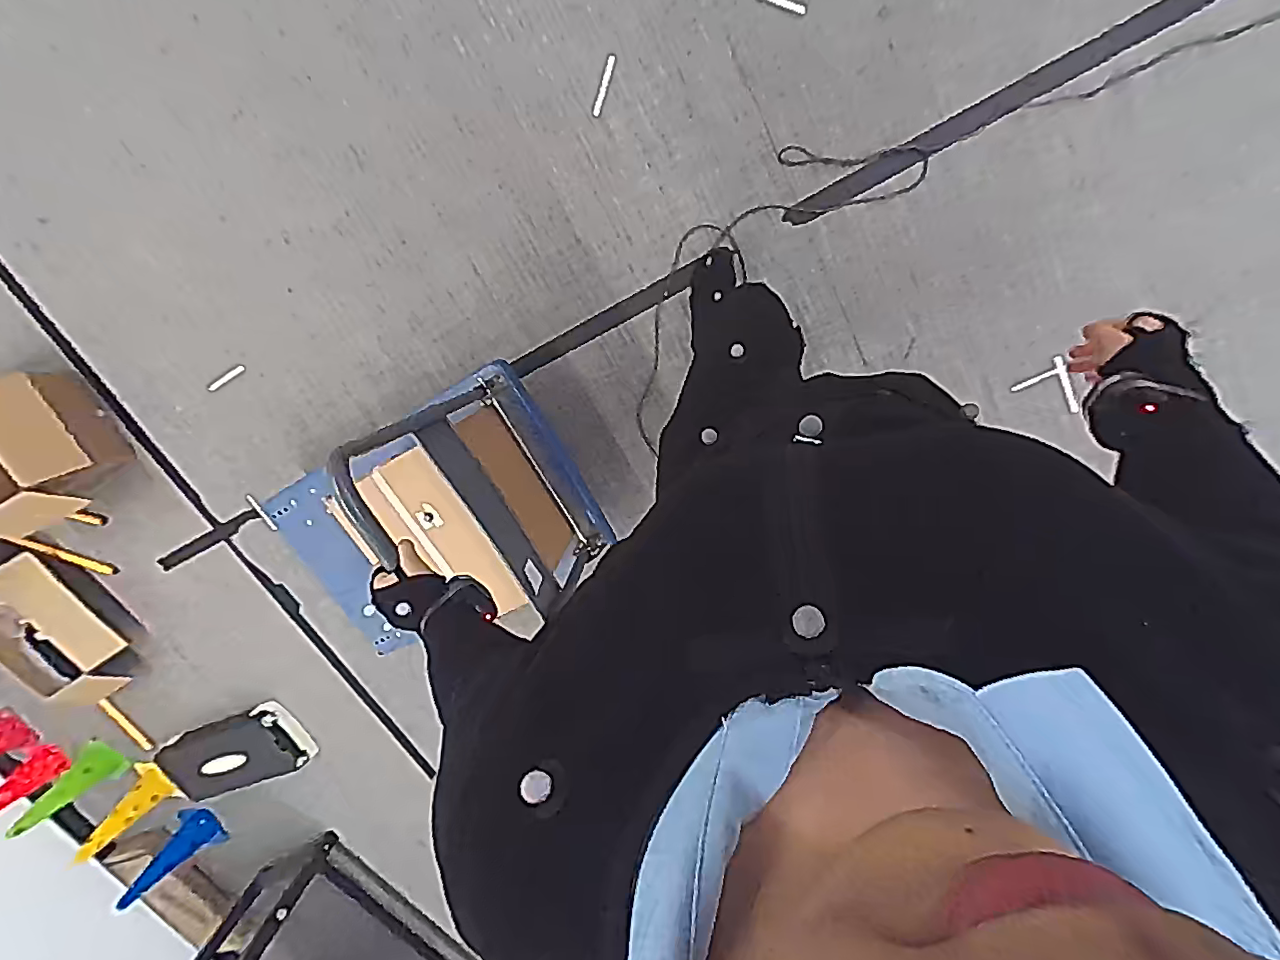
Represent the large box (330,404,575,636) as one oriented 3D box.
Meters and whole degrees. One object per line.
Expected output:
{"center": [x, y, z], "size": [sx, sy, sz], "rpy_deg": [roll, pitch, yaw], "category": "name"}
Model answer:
{"center": [-0.416, 0.086, 1.297], "size": [0.320, 0.320, 0.408], "rpy_deg": [-26, 104, 16], "category": "large box"}
